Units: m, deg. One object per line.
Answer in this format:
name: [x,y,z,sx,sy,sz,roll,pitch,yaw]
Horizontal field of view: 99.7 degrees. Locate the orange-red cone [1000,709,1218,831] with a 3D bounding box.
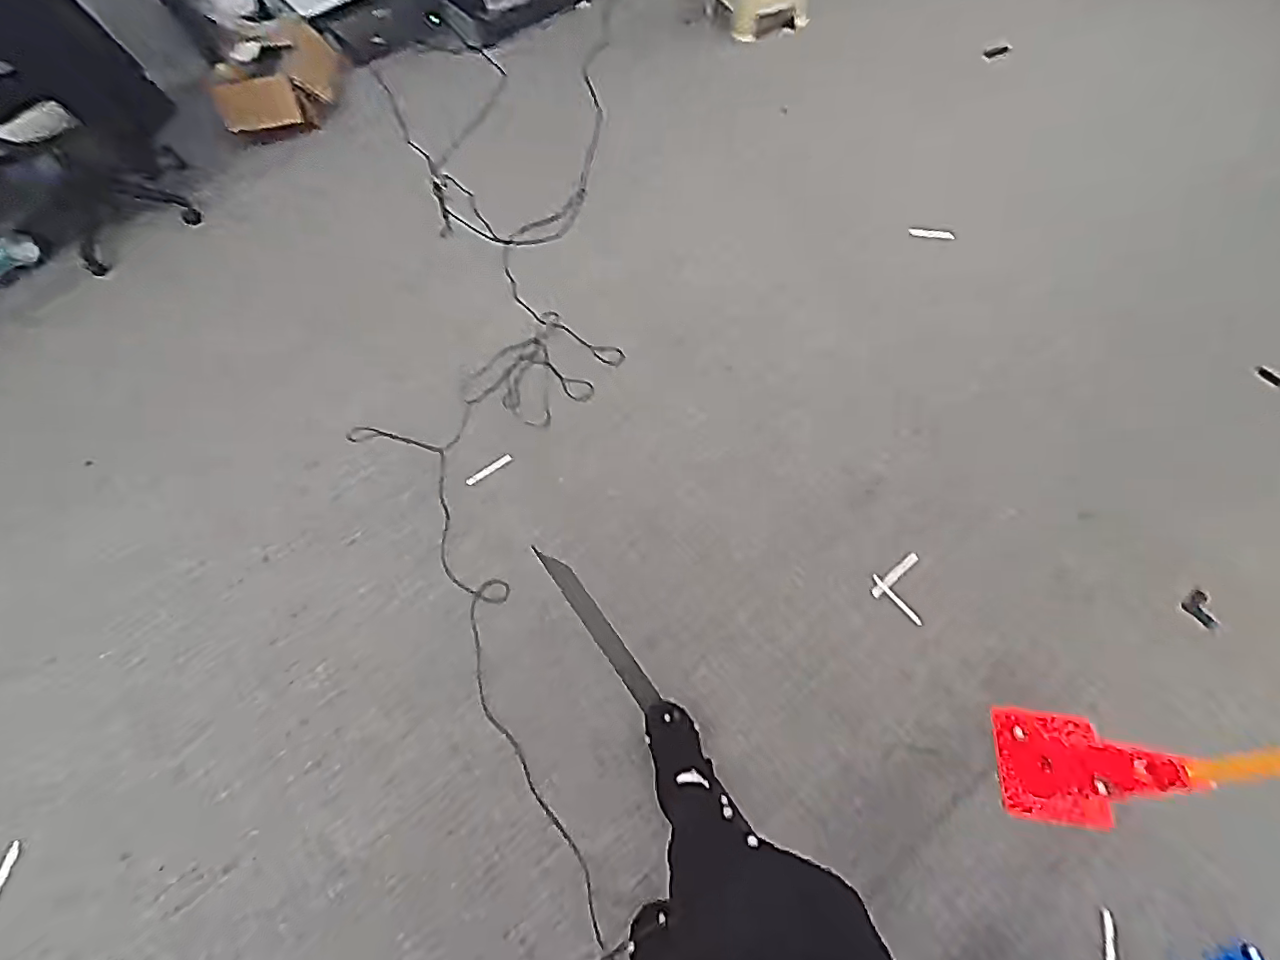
orange-red cone: [0.821,0.503,0.930,0.198,0.360,0.199,6,65,8]

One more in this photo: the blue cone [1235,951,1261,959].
blue cone: [1.019,0.859,0.754,0.193,0.380,0.192,-21,63,-6]
